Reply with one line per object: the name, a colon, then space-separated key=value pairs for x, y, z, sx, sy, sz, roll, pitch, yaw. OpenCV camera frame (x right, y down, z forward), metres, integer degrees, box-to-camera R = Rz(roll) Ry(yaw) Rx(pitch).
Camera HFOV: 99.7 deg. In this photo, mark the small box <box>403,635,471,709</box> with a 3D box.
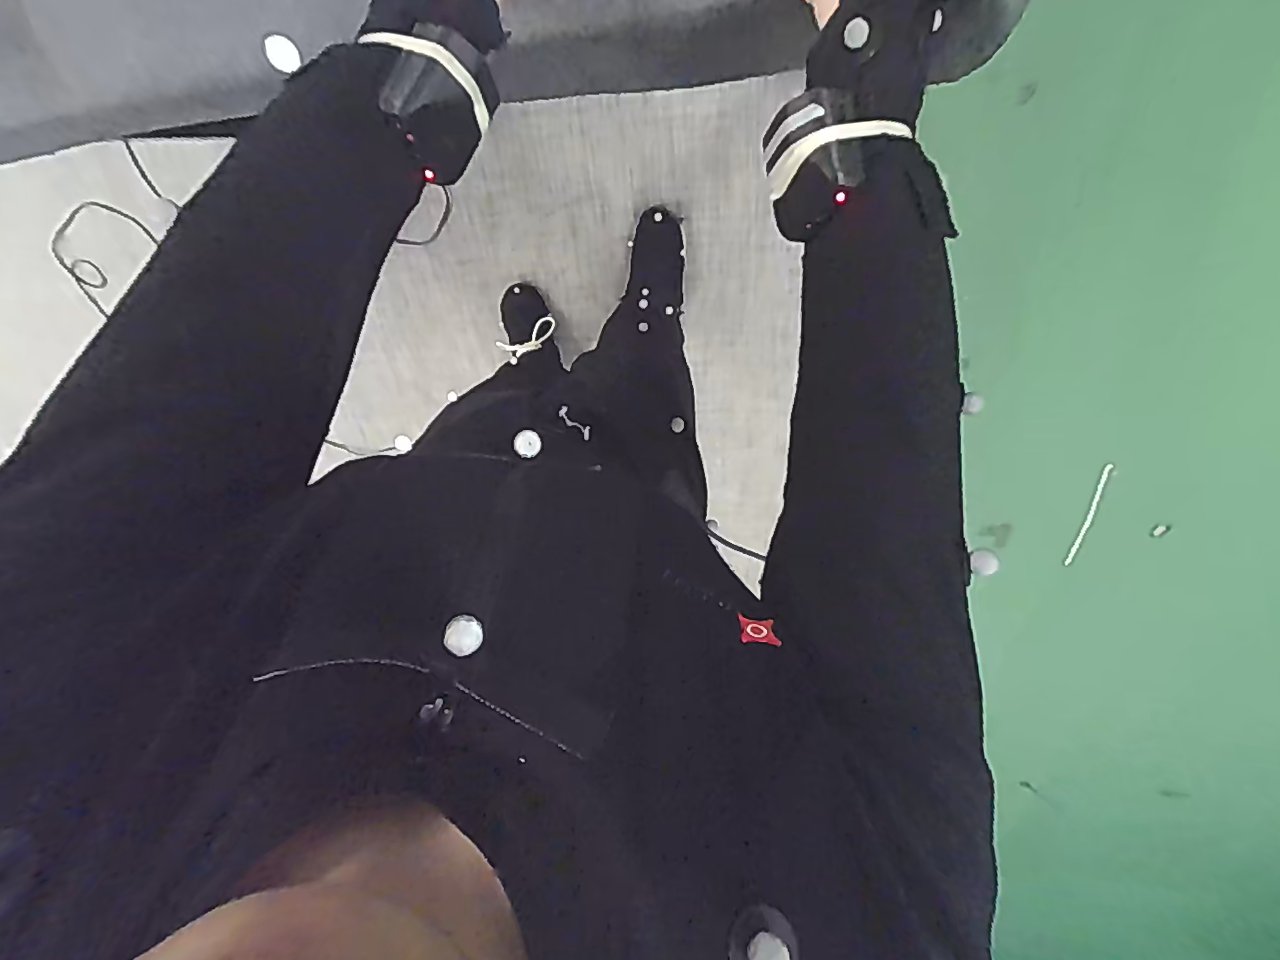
small box: x=-0.717 y=0.675 z=1.918 sx=0.179 sy=0.176 sz=0.168 roll=13 pitch=124 yaw=-1
